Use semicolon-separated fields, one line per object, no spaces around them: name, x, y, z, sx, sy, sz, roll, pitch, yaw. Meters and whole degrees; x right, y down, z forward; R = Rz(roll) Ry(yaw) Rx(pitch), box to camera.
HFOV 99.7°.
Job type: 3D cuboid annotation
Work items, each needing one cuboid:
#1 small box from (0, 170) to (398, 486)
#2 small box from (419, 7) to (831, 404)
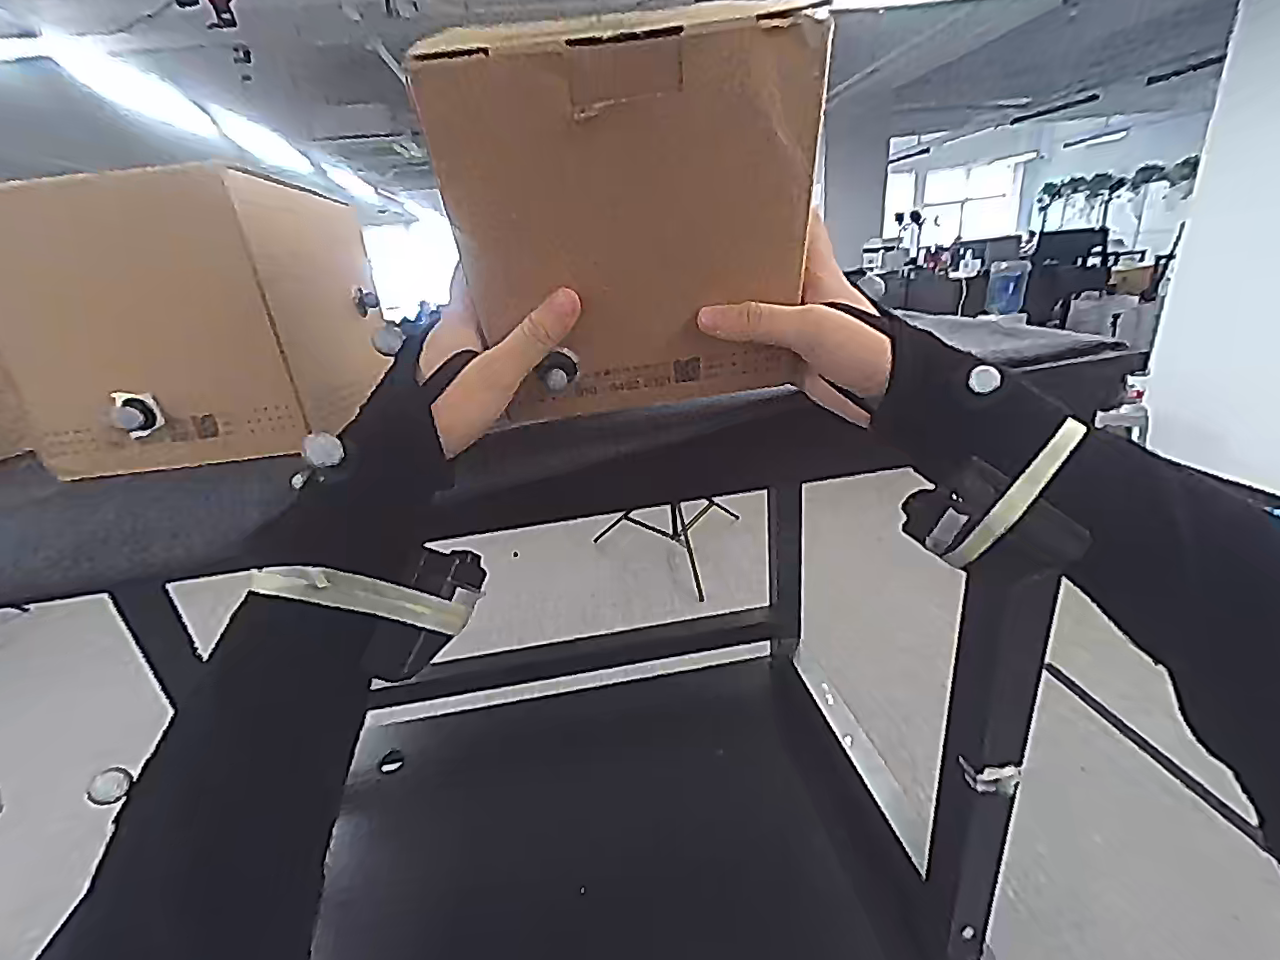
small box;-0.295;-0.106;0.390;0.168;0.176;0.179;-8;21;-3
small box;-0.006;-0.157;0.320;0.168;0.176;0.179;-8;41;-2
